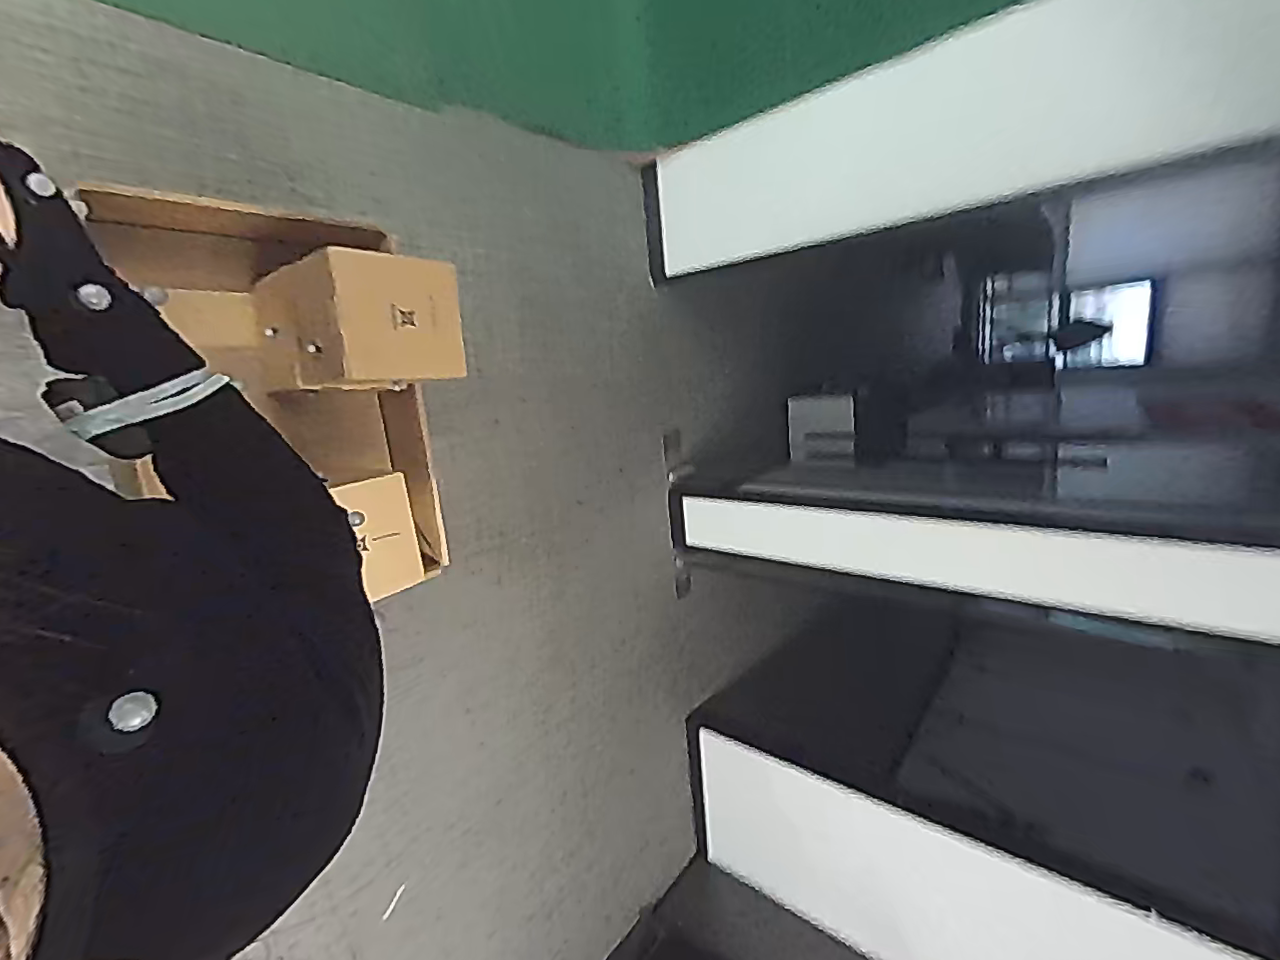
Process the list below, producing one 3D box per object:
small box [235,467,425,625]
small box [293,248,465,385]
[{"bbox_3d":[-0.439,0.080,0.762,0.179,0.176,0.168,-21,109,-48],"label":"small box"},{"bbox_3d":[-0.387,-0.227,0.798,0.179,0.176,0.168,-14,105,-49],"label":"small box"}]
